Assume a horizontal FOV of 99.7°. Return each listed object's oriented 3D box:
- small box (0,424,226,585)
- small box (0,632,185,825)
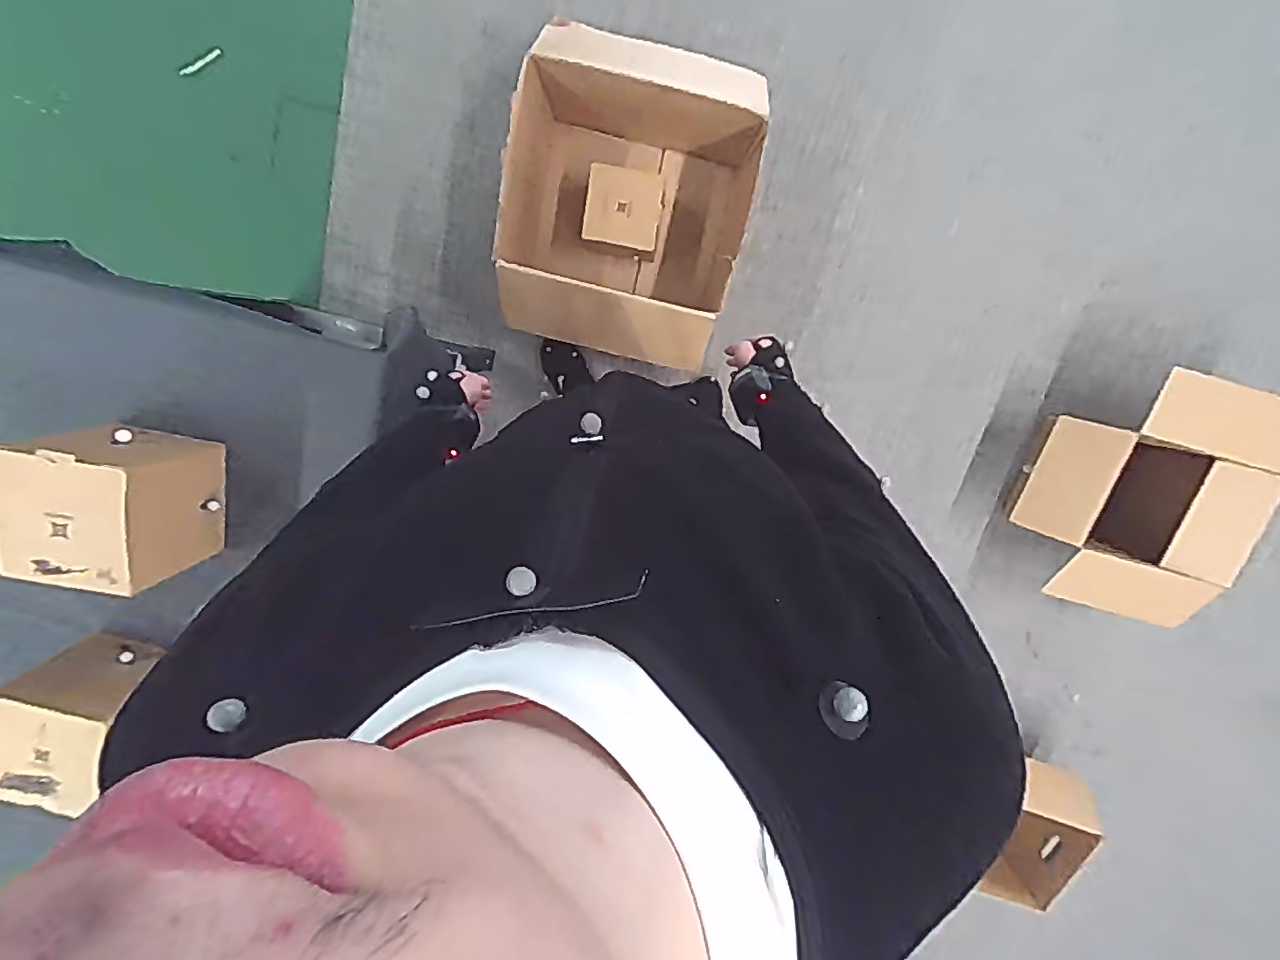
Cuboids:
[{"bbox_3d":[-0.721,0.024,0.757,0.168,0.176,0.179,8,104,-4],"label":"small box"},{"bbox_3d":[-0.841,0.366,0.817,0.168,0.176,0.179,20,103,-8],"label":"small box"}]
